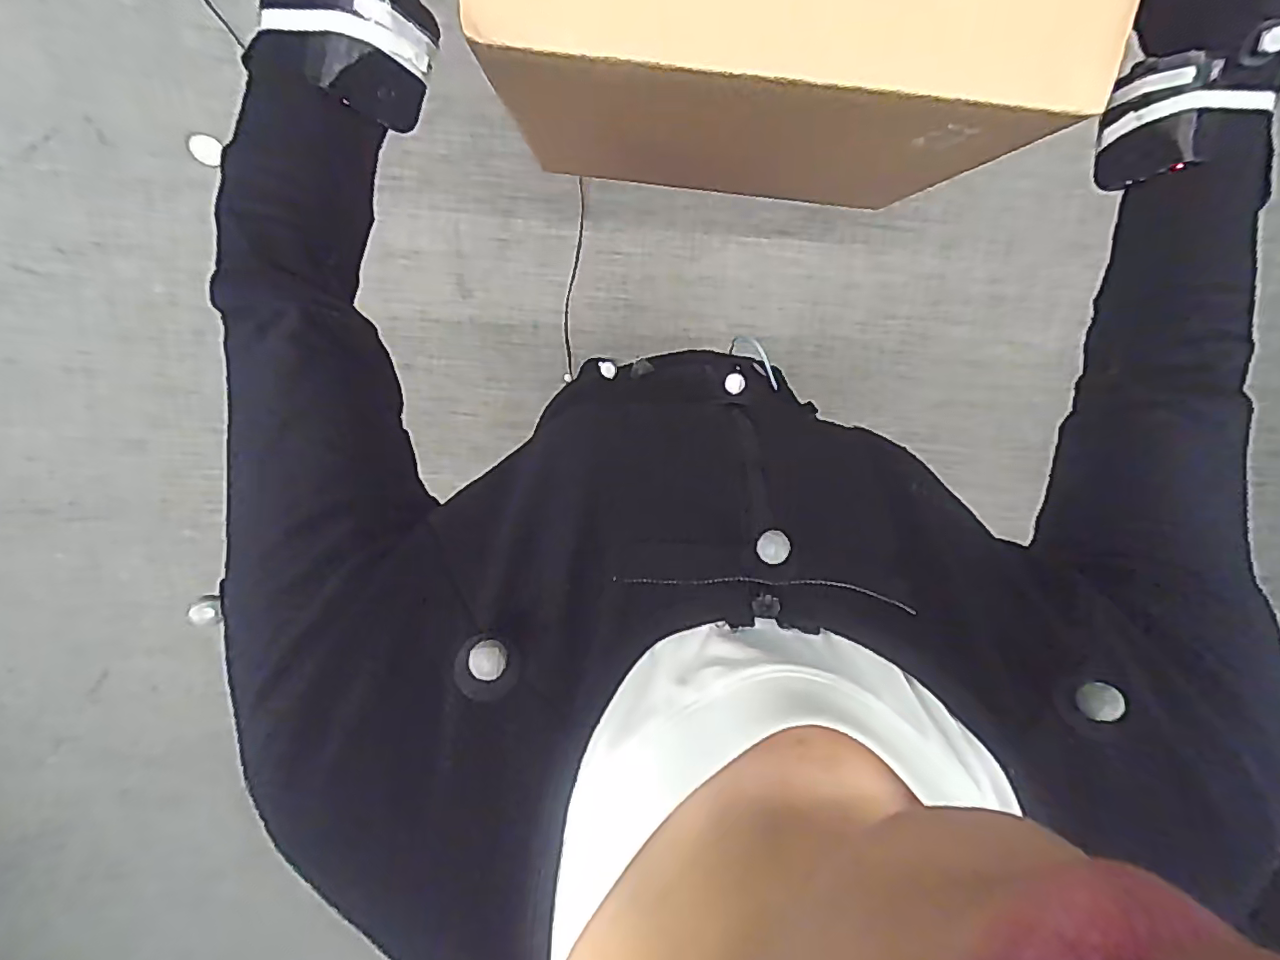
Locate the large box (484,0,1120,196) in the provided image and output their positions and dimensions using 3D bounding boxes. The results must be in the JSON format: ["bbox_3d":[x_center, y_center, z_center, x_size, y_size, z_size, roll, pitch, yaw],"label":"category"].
[{"bbox_3d":[0.103,-0.448,0.441,0.408,0.320,0.320,4,107,-4],"label":"large box"}]
